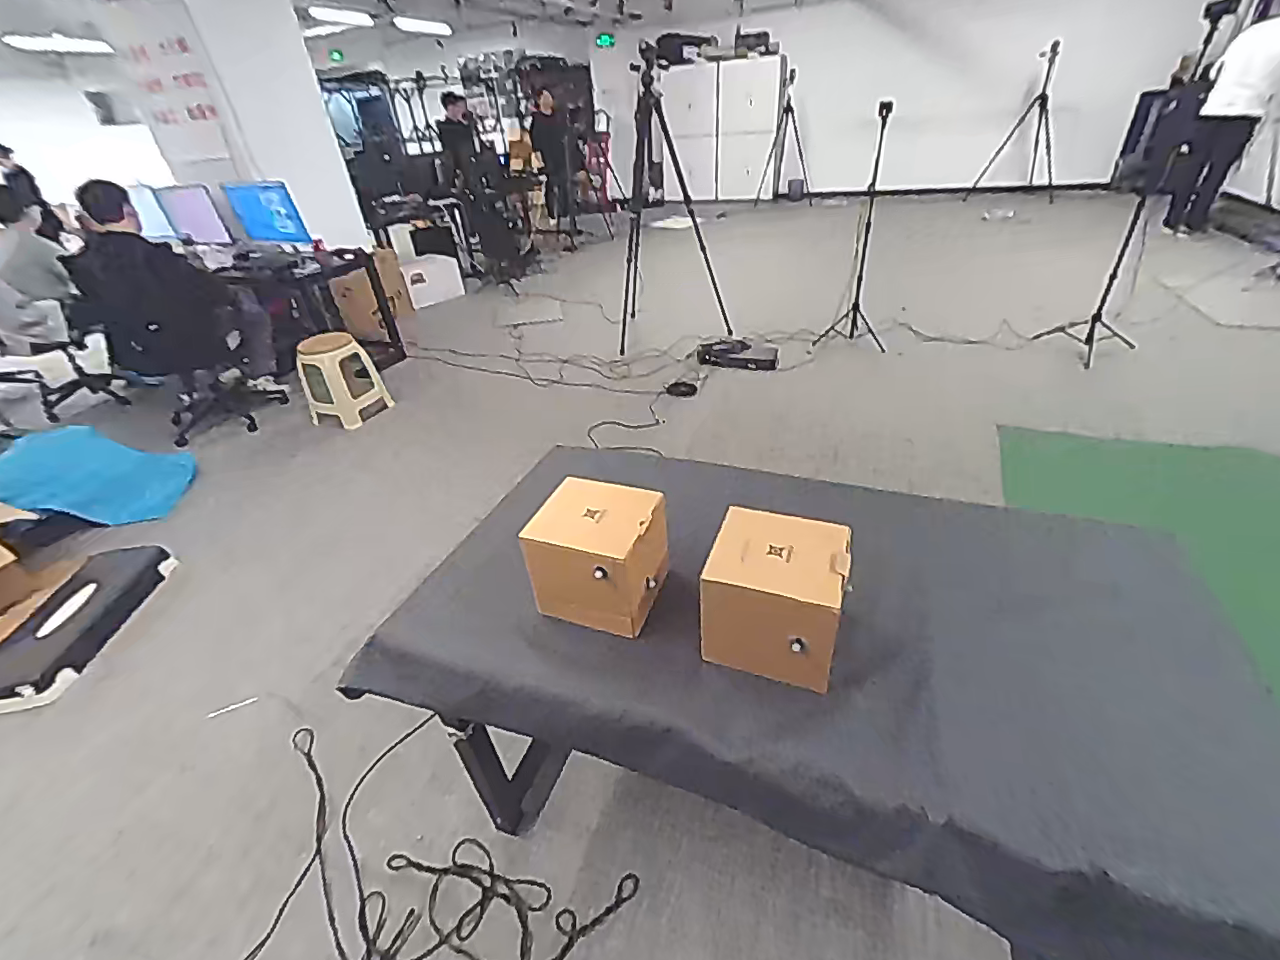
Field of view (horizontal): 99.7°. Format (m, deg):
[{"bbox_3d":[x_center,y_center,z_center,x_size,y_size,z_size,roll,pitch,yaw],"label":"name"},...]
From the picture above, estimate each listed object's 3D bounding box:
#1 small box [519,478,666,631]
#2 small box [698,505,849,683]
[{"bbox_3d":[-0.067,0.118,0.875,0.179,0.176,0.168,9,37,19],"label":"small box"},{"bbox_3d":[0.192,0.161,0.773,0.179,0.176,0.168,8,35,21],"label":"small box"}]
